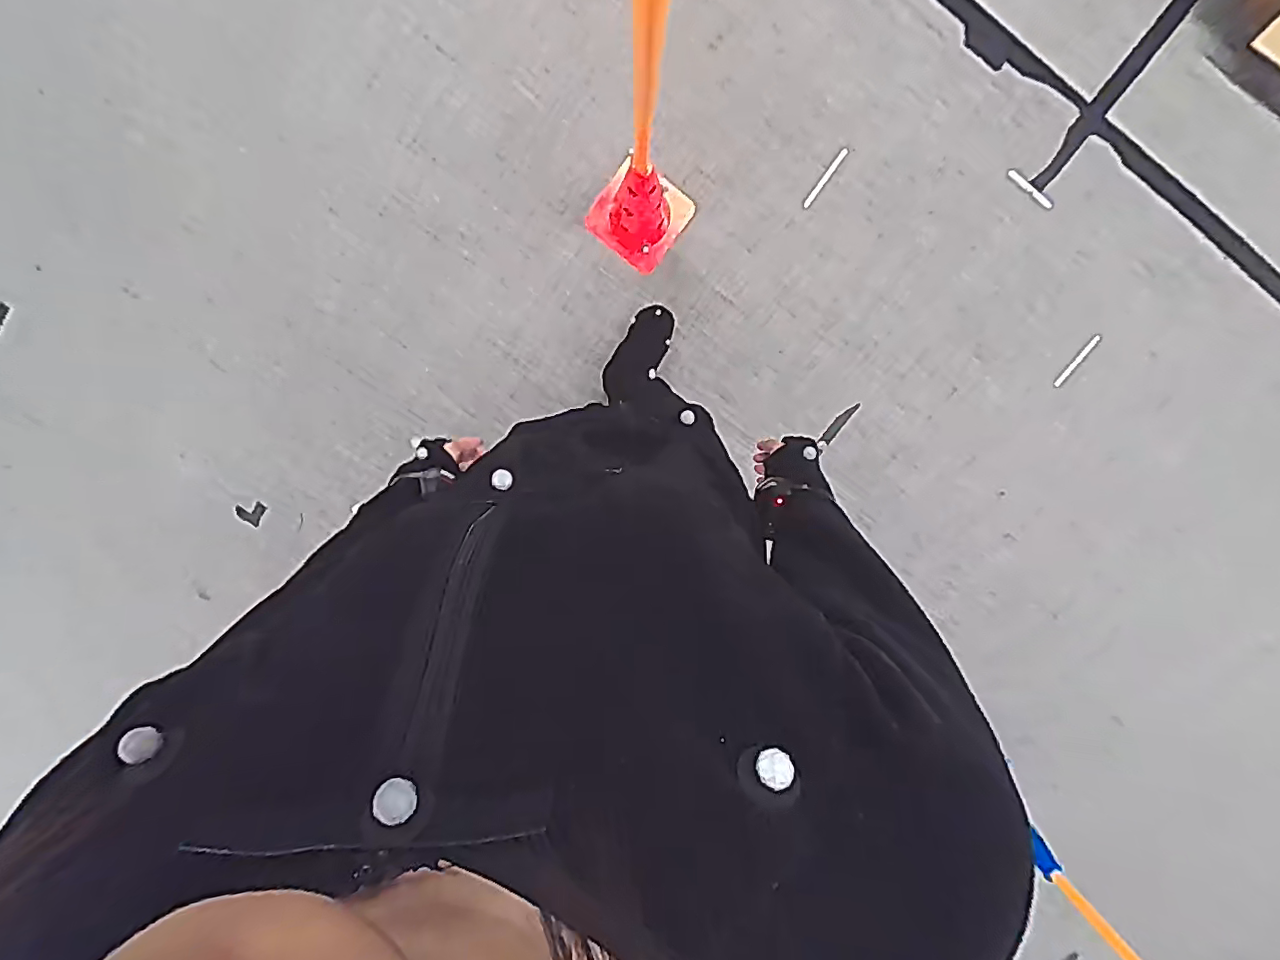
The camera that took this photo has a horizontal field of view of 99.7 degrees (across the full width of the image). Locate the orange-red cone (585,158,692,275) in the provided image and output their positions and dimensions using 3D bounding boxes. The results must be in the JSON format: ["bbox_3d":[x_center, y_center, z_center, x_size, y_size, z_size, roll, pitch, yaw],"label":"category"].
[{"bbox_3d":[0.000,-0.577,1.104,0.198,0.360,0.199,38,99,-9],"label":"orange-red cone"}]
